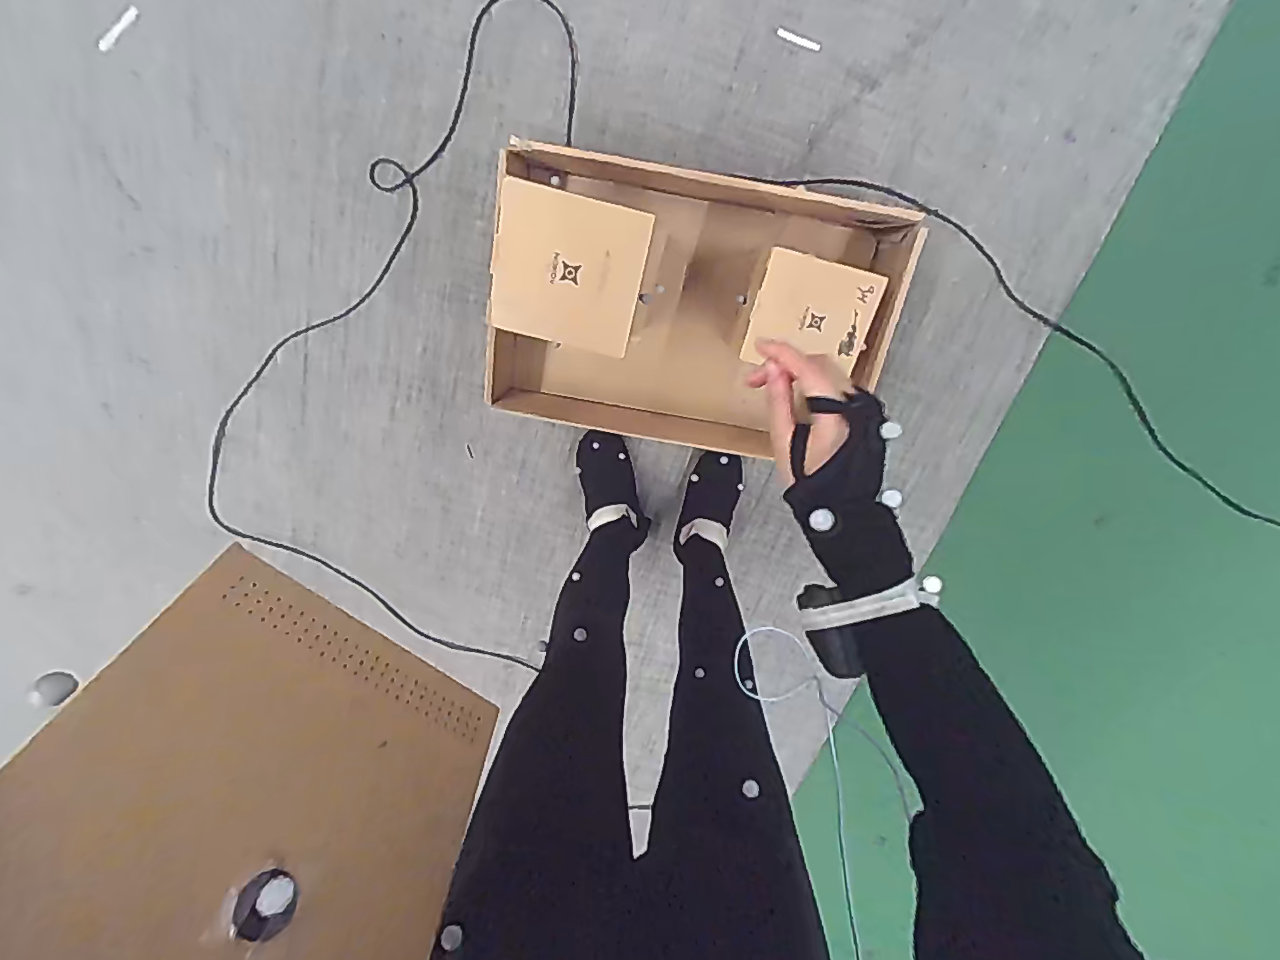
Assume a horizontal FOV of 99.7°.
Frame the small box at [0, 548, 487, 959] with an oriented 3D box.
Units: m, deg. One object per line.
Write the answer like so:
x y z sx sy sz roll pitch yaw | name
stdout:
-0.203 0.166 0.258 0.168 0.176 0.179 -36 114 21 | small box

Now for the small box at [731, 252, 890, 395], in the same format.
0.257 -0.252 0.869 0.179 0.176 0.168 16 111 -3 | small box

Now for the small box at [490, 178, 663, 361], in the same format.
-0.075 -0.267 0.701 0.179 0.176 0.168 14 112 -4 | small box
